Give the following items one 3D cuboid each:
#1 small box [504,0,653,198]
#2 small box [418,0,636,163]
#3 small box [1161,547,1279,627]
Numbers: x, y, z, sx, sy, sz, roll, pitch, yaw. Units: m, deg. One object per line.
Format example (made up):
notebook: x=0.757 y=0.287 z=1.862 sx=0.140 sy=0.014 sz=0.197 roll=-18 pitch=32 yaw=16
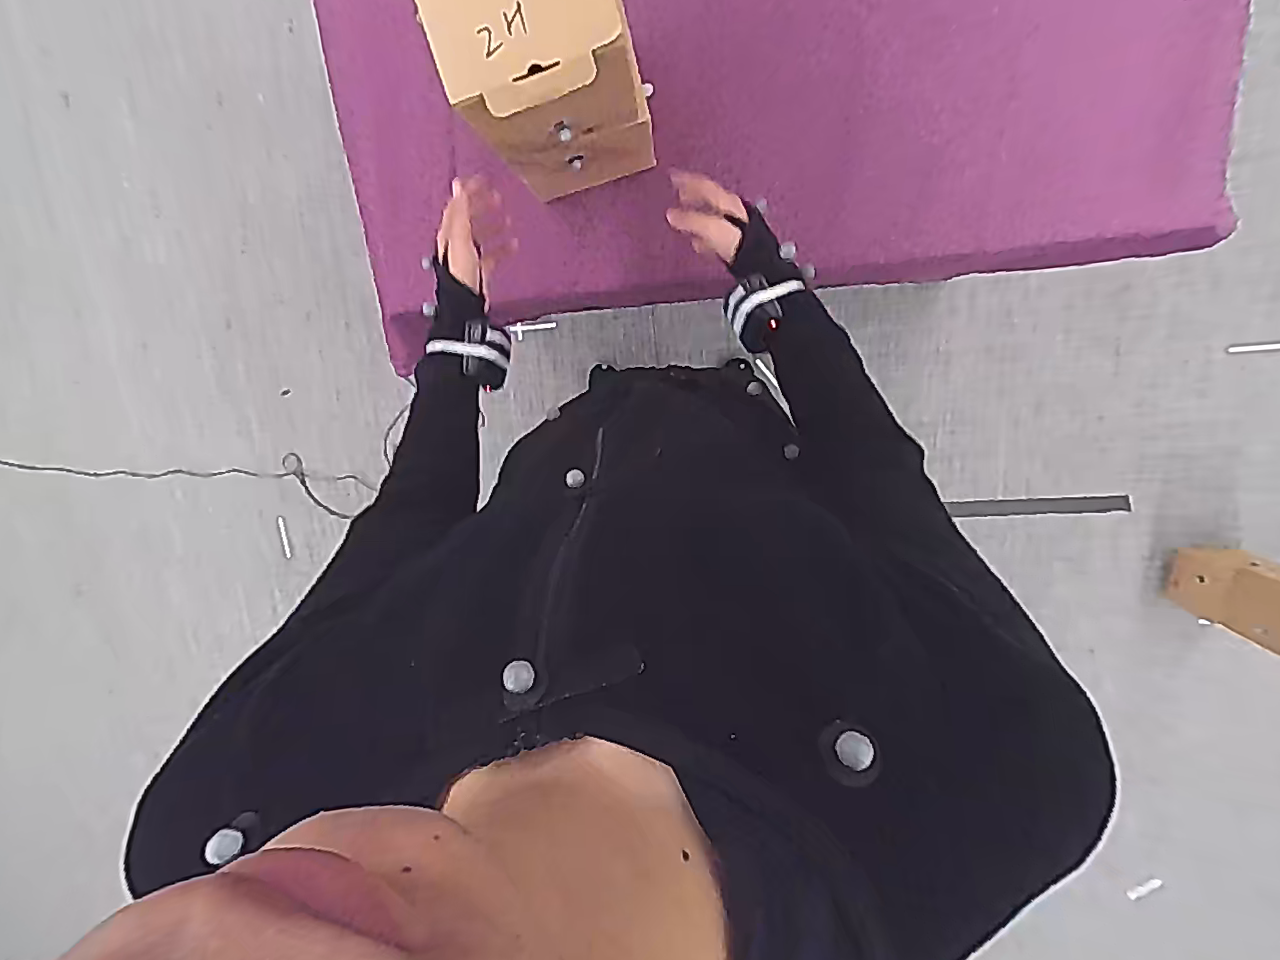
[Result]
small box: x=-0.088 y=-0.486 z=0.690 sx=0.179 sy=0.176 sz=0.168 roll=-14 pitch=103 yaw=7
small box: x=-0.108 y=-0.451 z=0.530 sx=0.168 sy=0.176 sz=0.179 roll=-15 pitch=102 yaw=8
small box: x=1.631 y=0.294 z=1.514 sx=0.179 sy=0.176 sz=0.168 roll=0 pitch=104 yaw=4
